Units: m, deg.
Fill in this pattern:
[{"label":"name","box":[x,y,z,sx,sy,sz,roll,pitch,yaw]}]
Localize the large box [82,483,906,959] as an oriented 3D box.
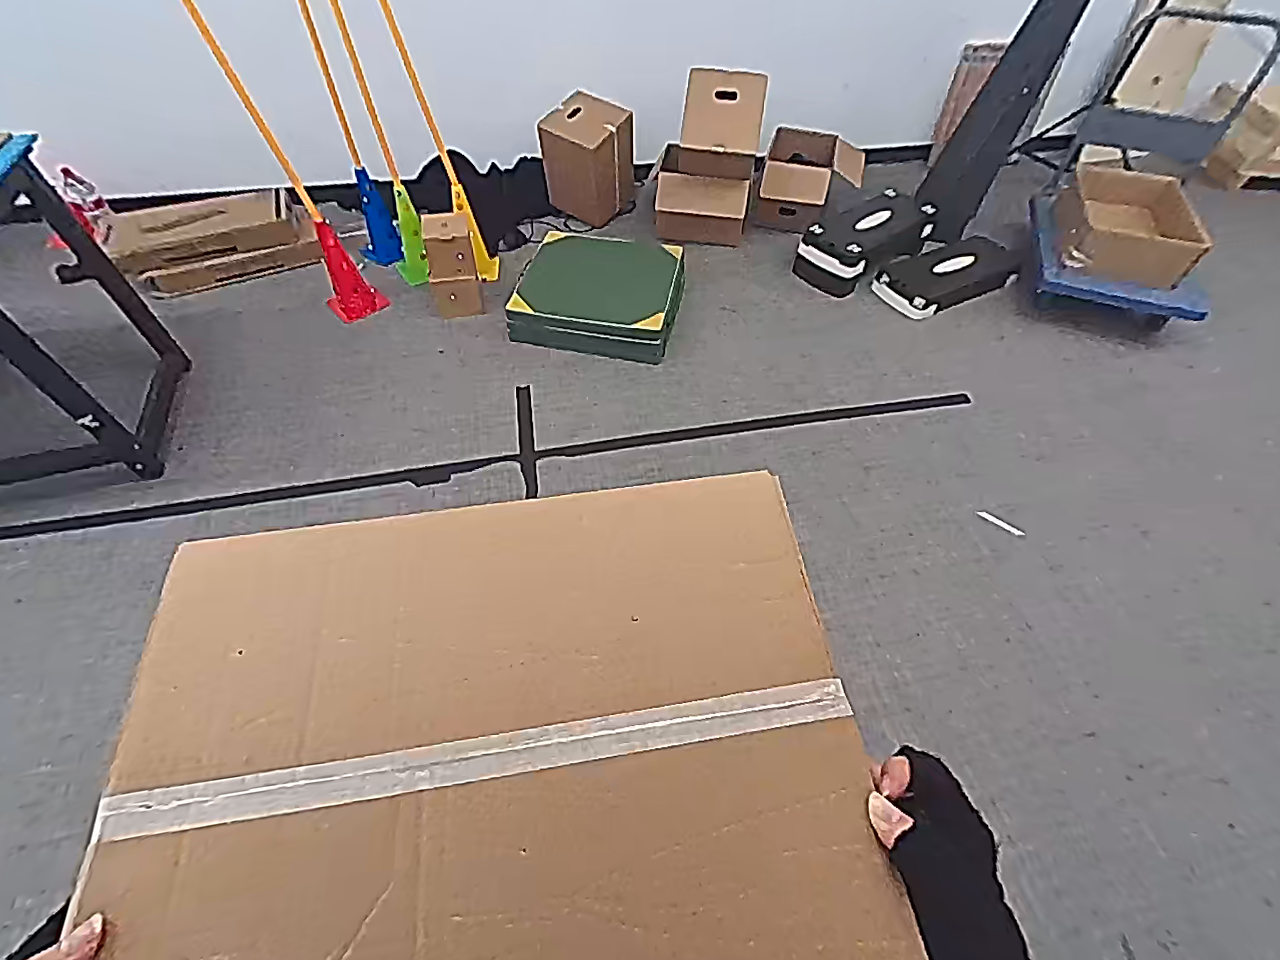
[{"label":"large box","box":[-0.083,0.231,0.439,0.408,0.320,0.320,-7,60,-4]}]
